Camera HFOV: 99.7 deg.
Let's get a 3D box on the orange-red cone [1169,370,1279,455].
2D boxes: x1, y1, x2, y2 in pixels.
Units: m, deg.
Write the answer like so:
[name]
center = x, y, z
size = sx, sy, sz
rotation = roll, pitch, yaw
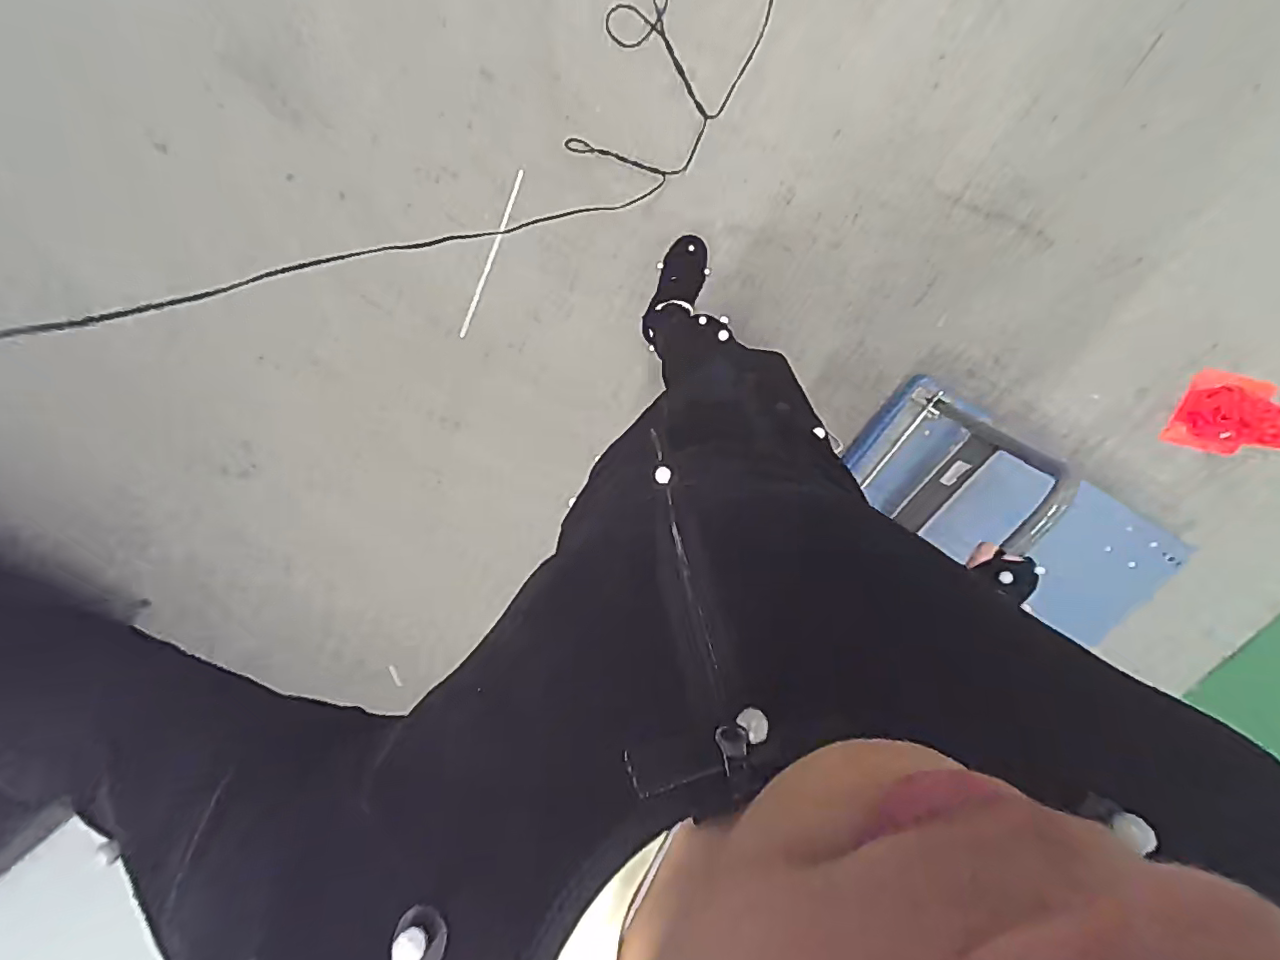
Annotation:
[orange-red cone]
center = 1.502, -0.118, 1.249
size = 0.198, 0.360, 0.199
rotation = 15, 109, 1
